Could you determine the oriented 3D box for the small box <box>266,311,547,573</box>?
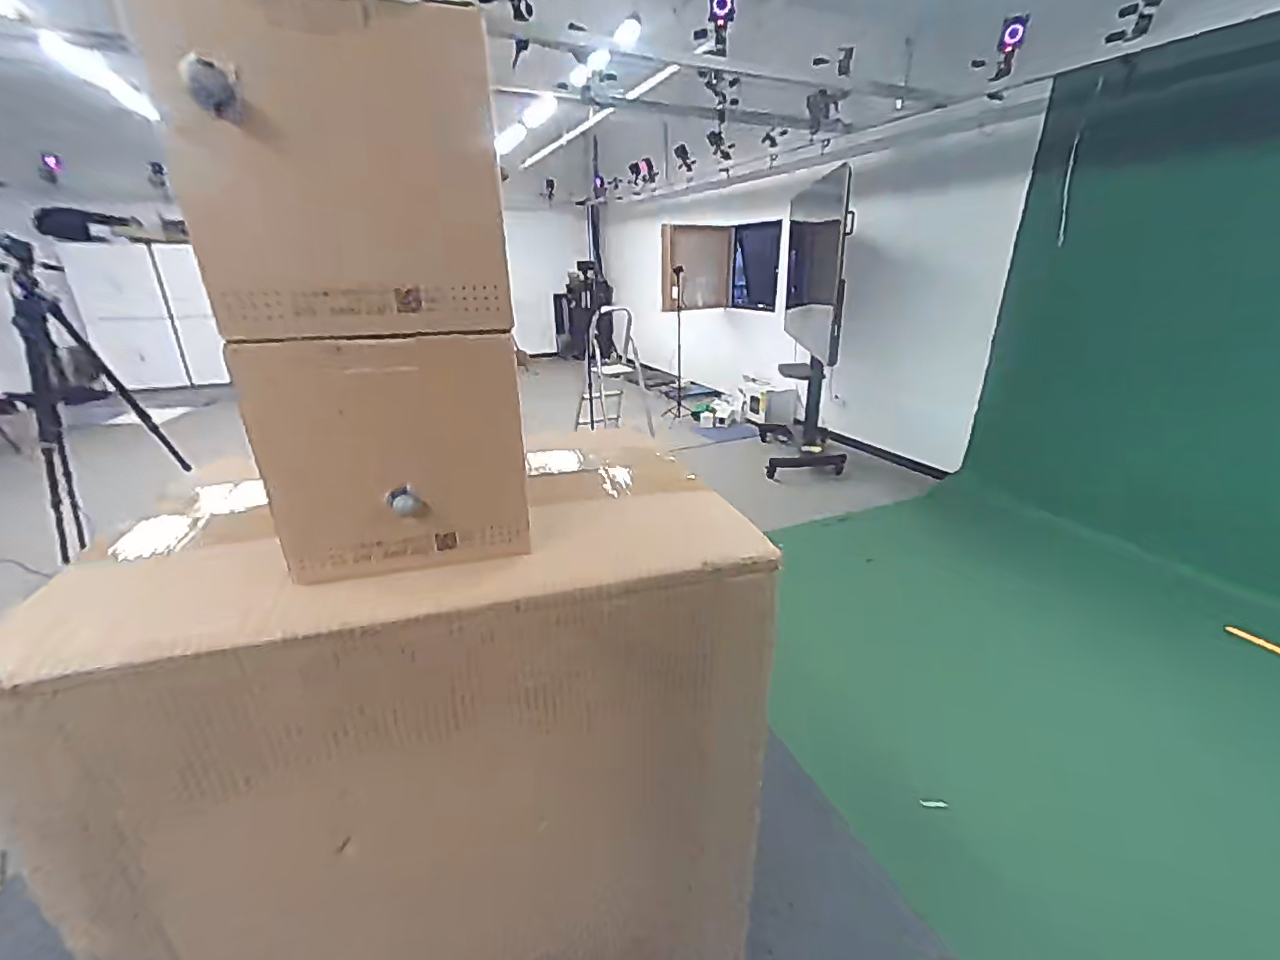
[{"bbox_3d":[-0.171,-0.044,0.448,0.168,0.176,0.179,-6,24,-15],"label":"small box"}]
